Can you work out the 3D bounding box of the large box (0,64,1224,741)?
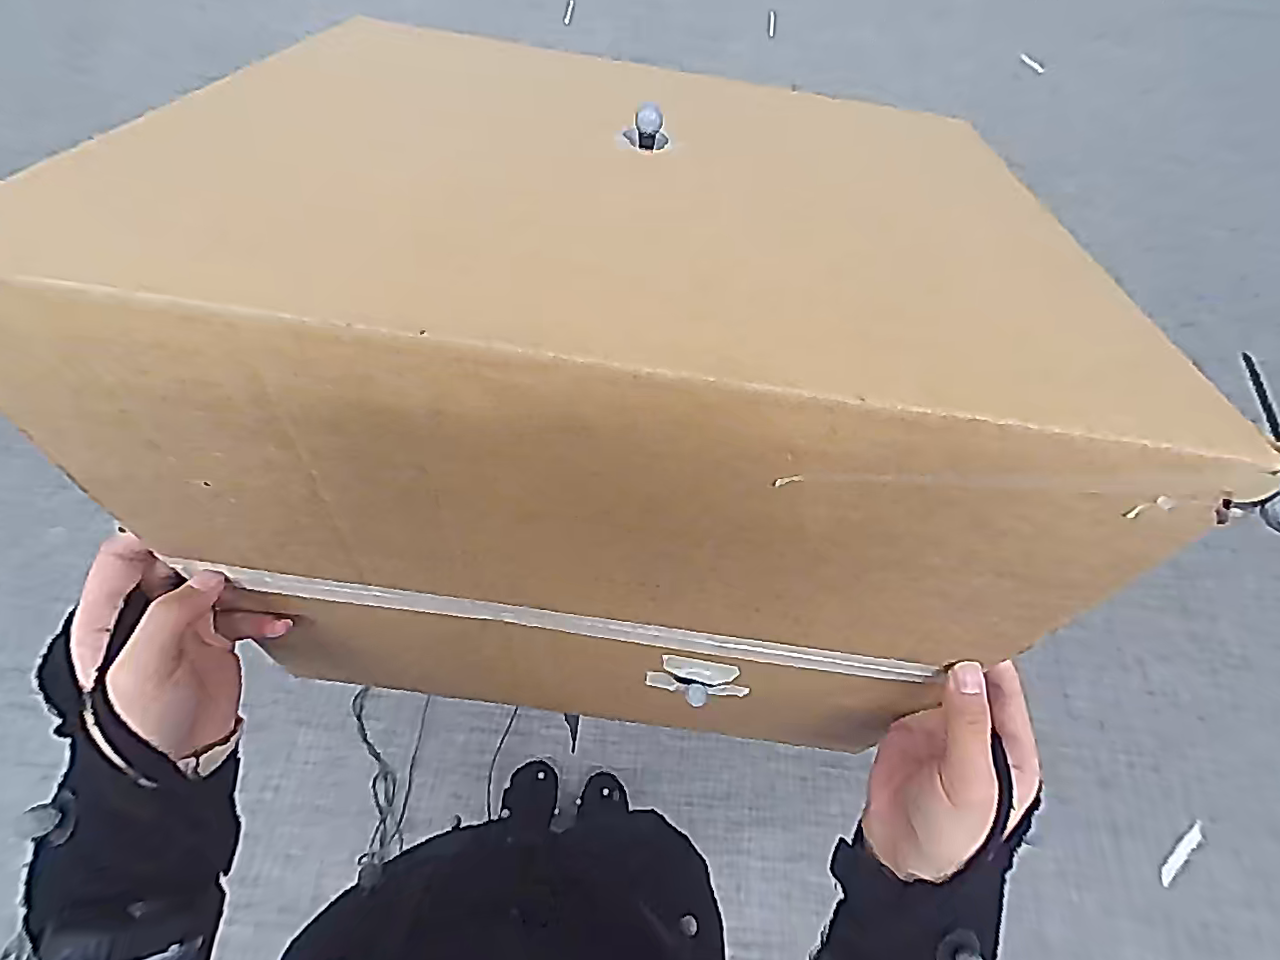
[{"bbox_3d":[-0.017,-0.046,0.374,0.408,0.320,0.320,8,51,-1],"label":"large box"}]
